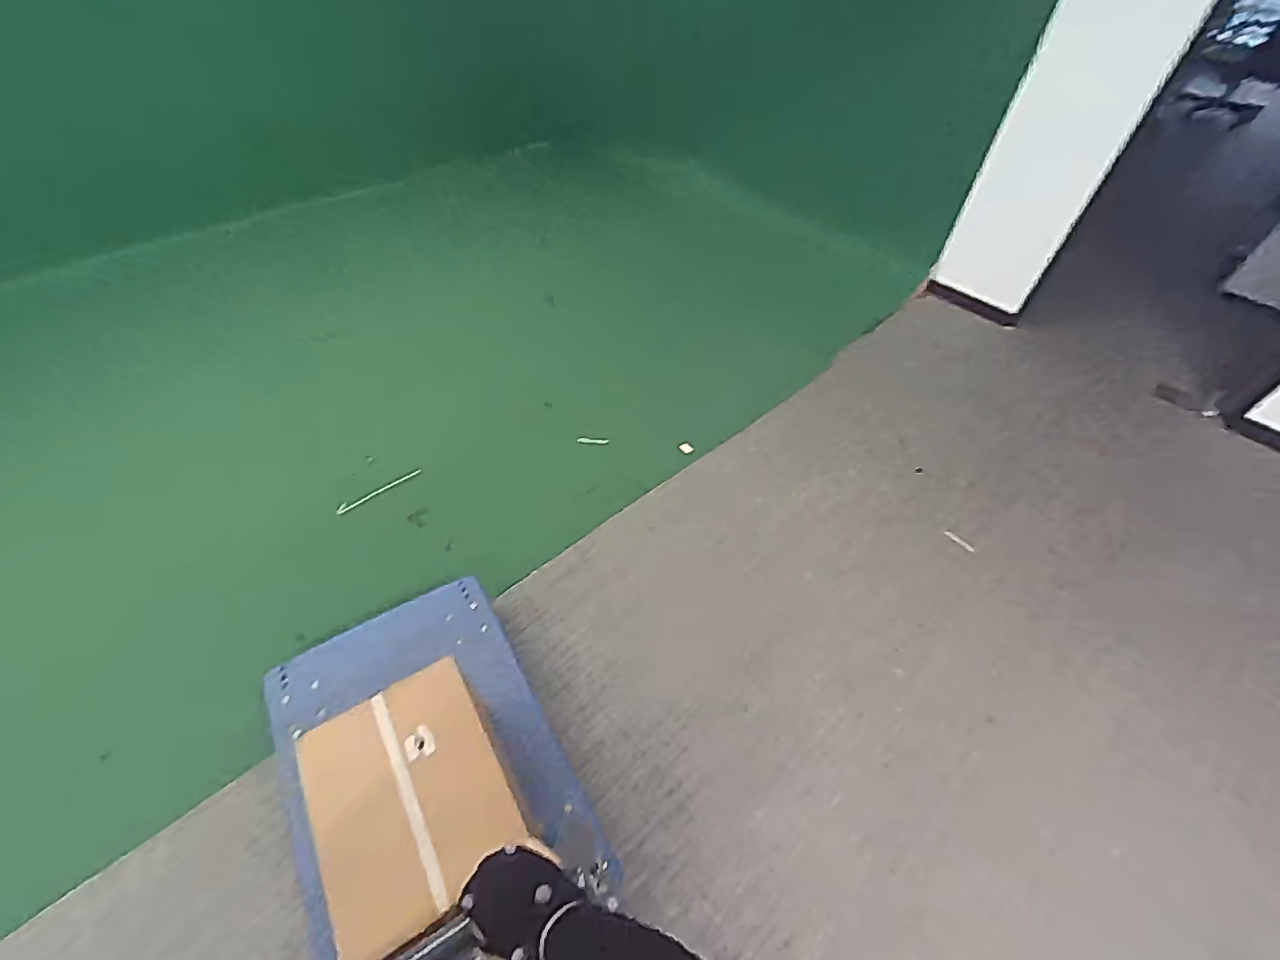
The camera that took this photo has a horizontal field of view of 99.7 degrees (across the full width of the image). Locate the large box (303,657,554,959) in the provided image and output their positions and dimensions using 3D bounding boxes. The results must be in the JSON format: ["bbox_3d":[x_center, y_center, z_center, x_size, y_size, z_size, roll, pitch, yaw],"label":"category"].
[{"bbox_3d":[-0.413,0.658,1.098,0.320,0.320,0.408,-25,54,-21],"label":"large box"}]
